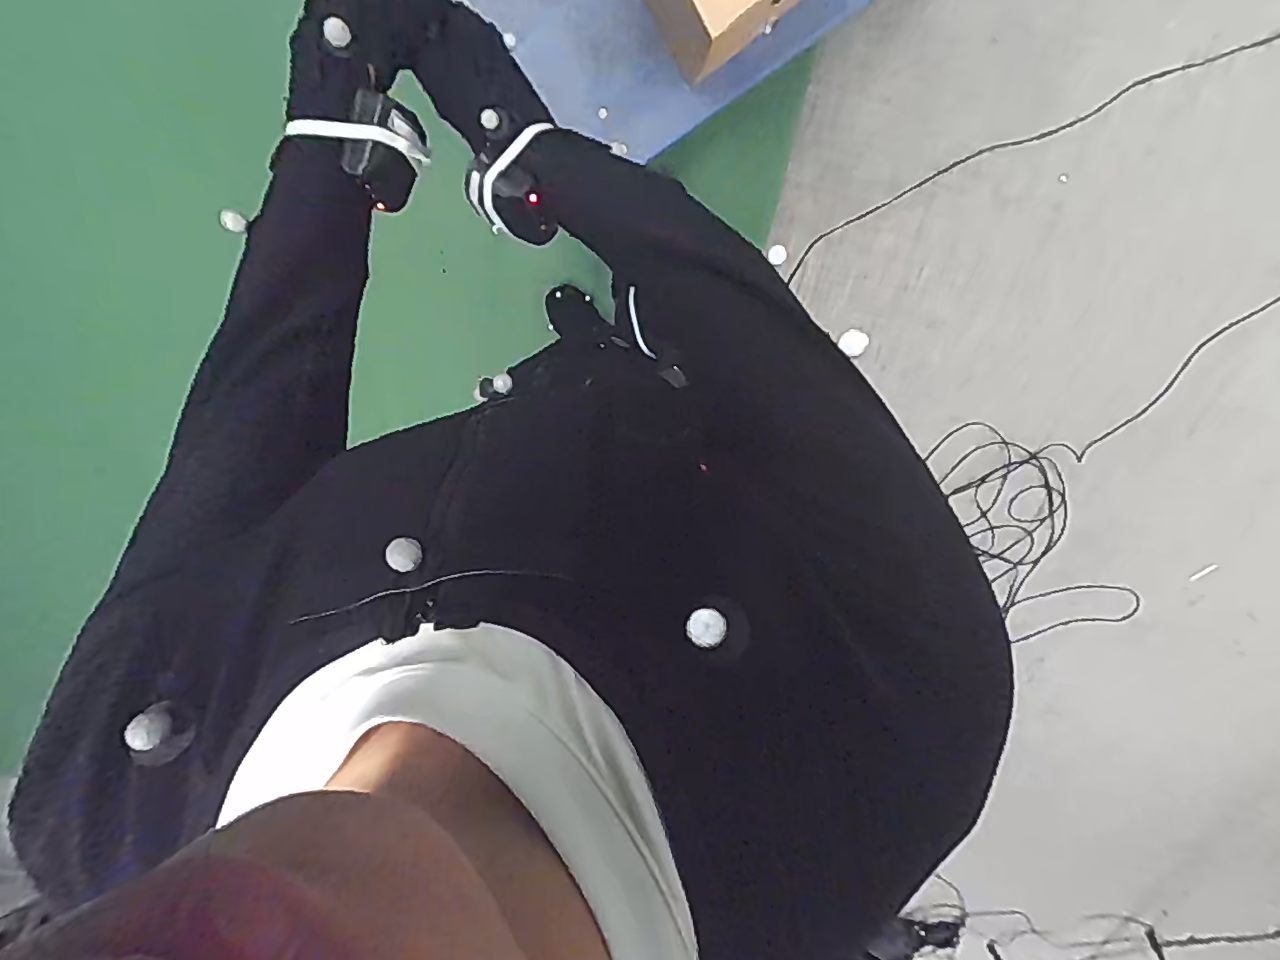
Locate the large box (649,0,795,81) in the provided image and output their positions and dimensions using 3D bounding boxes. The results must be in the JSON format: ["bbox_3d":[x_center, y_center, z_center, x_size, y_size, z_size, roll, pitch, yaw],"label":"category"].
[{"bbox_3d":[0.112,-0.902,0.776,0.320,0.320,0.408,-32,112,13],"label":"large box"}]
